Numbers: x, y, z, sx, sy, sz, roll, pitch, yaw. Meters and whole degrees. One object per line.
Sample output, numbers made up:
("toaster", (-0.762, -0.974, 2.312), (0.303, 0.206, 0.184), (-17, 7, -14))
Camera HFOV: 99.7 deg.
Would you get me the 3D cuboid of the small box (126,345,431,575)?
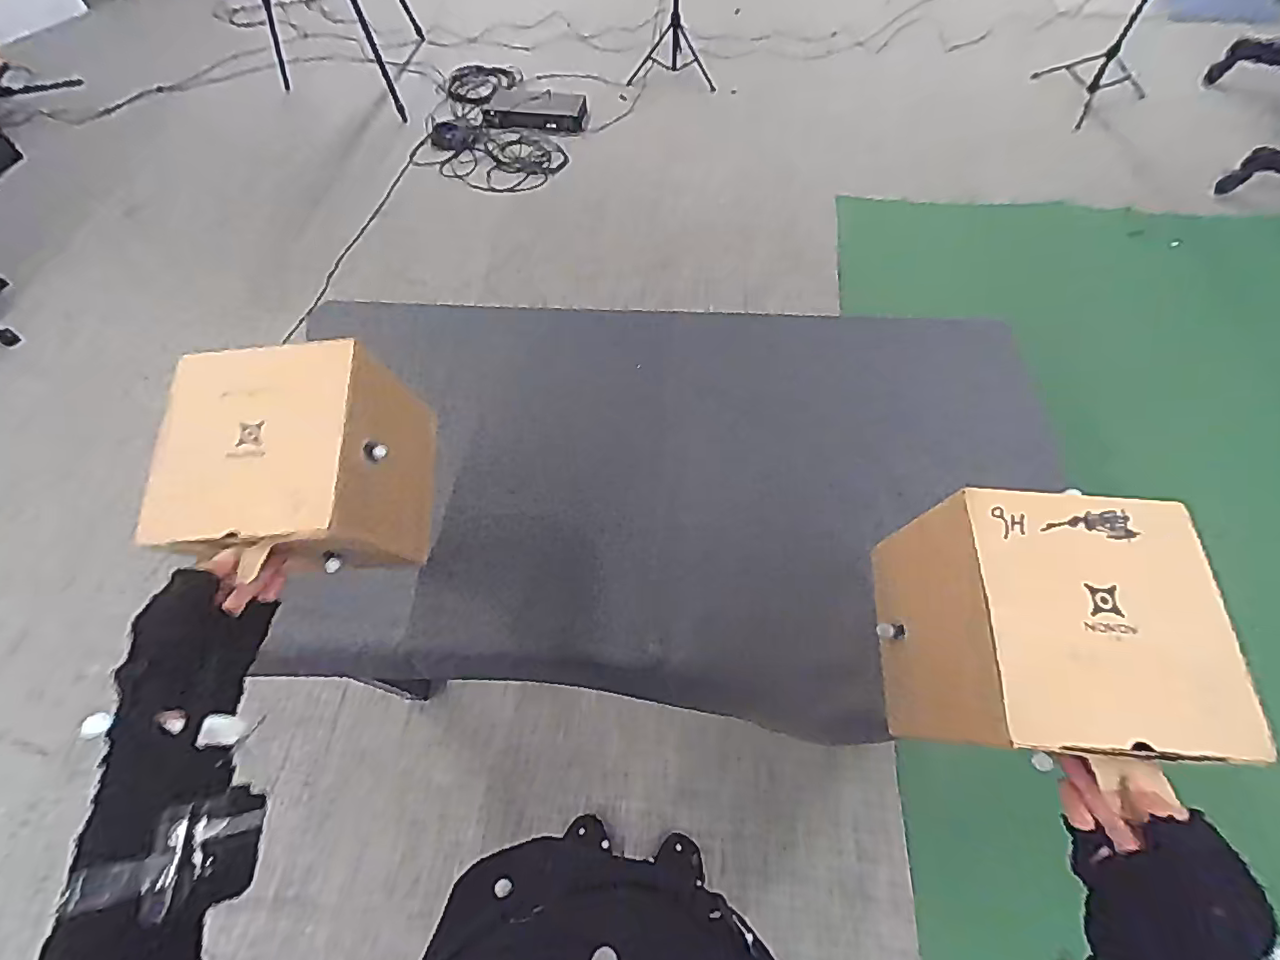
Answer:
("small box", (-0.317, -0.005, 0.518), (0.168, 0.176, 0.179), (-3, 71, 3))
